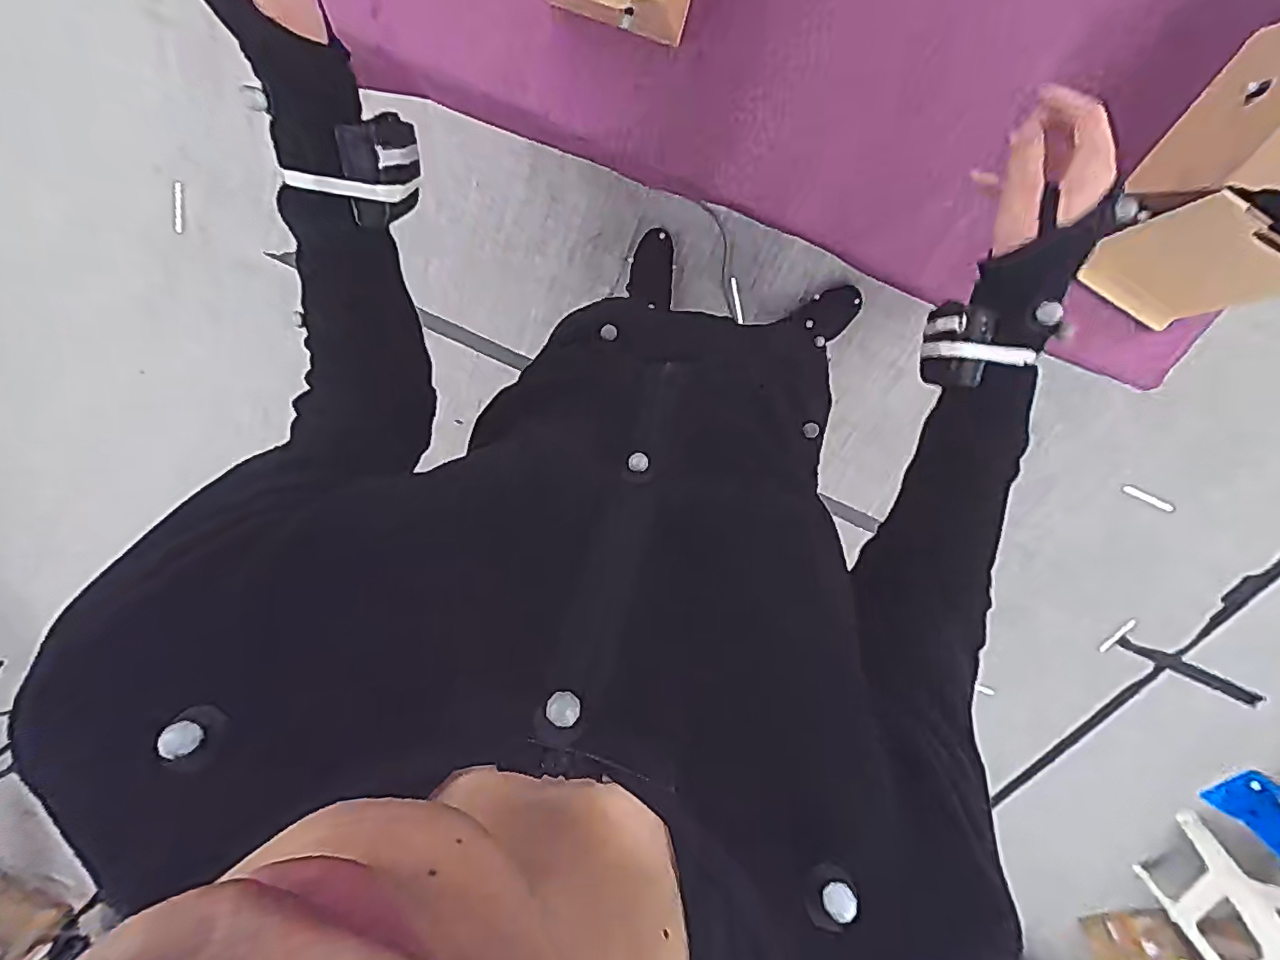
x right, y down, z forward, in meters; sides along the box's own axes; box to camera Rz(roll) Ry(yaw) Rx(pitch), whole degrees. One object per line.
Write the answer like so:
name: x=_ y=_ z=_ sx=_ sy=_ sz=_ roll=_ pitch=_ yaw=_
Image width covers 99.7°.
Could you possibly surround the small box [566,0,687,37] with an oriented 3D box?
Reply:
small box: x=-0.021 y=-0.579 z=0.529 sx=0.168 sy=0.176 sz=0.179 roll=19 pitch=117 yaw=-1
